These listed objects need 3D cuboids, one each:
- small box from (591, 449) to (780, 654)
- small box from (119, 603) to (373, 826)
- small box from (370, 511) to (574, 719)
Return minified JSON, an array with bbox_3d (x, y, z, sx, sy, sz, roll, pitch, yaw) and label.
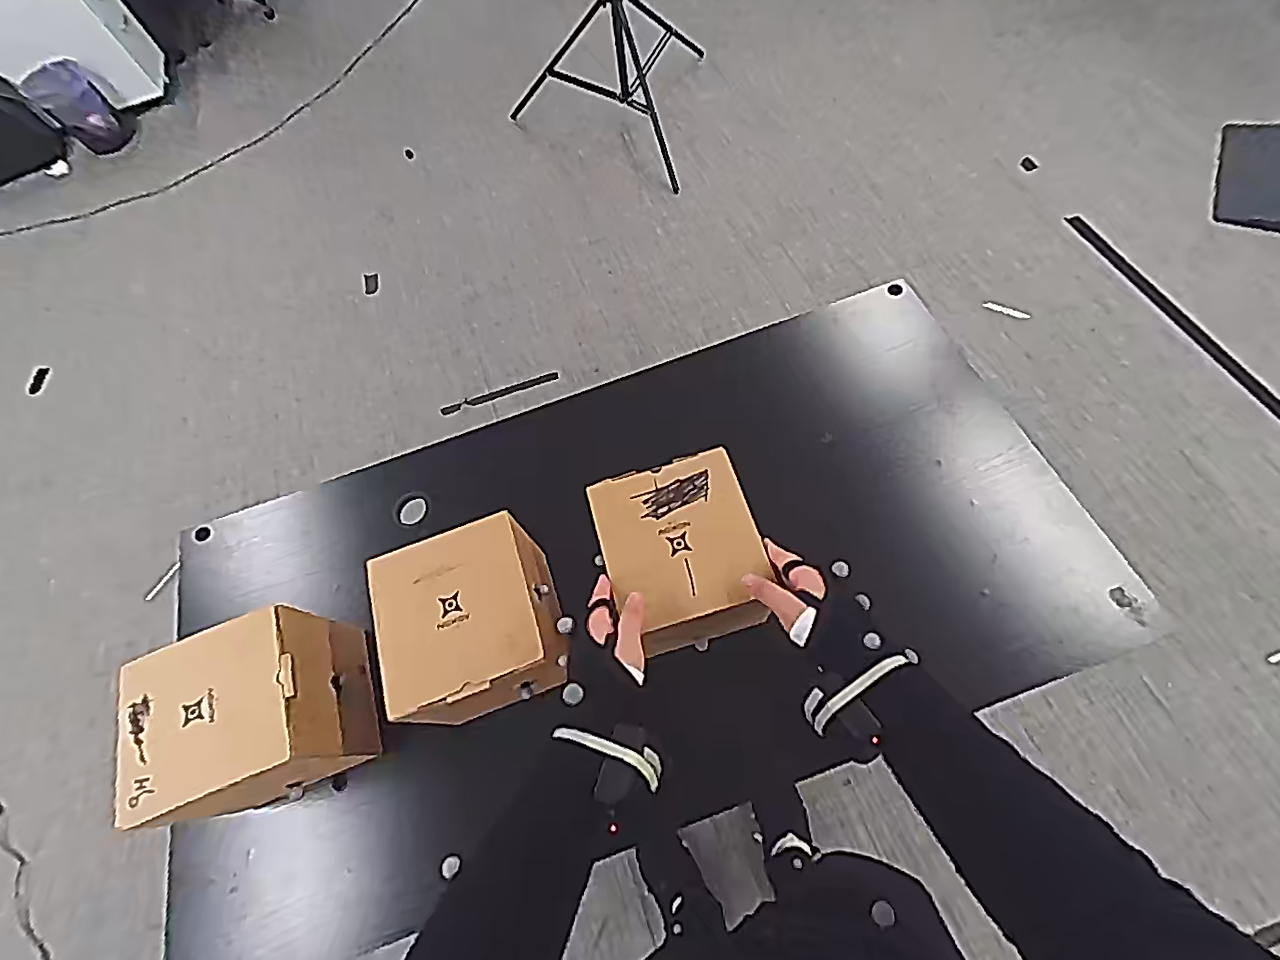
[{"bbox_3d":[0.049,0.093,0.648,0.168,0.176,0.179,-16,65,-1],"label":"small box"},{"bbox_3d":[-0.432,0.263,0.622,0.179,0.176,0.168,-21,64,-5],"label":"small box"},{"bbox_3d":[-0.189,0.167,0.642,0.168,0.176,0.179,-20,64,-4],"label":"small box"}]
